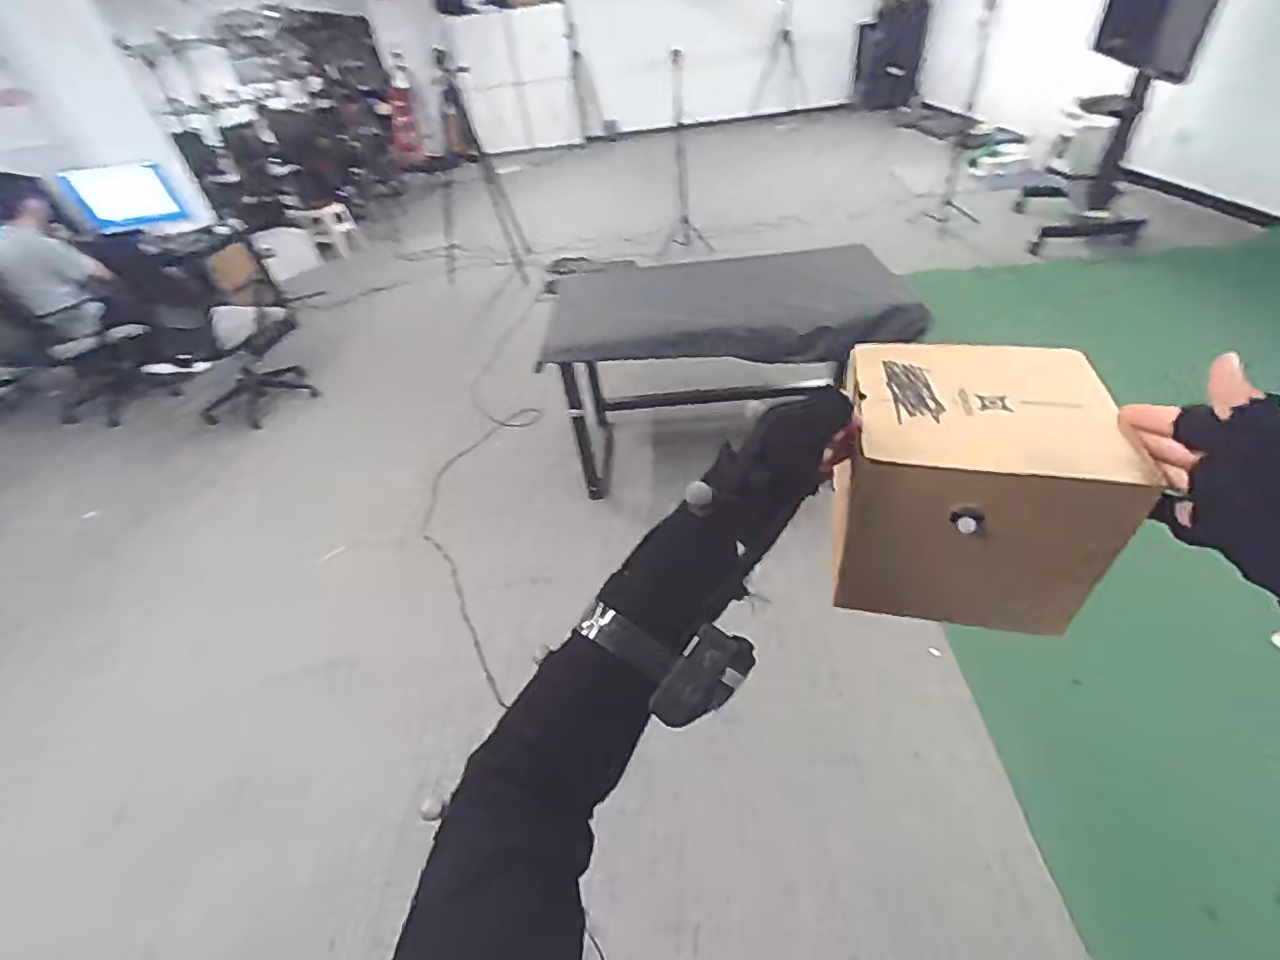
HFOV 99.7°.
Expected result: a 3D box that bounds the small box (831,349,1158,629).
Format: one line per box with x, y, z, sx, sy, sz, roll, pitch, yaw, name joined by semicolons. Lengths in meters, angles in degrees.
0.260;0.005;0.457;0.179;0.176;0.168;5;43;14;small box
